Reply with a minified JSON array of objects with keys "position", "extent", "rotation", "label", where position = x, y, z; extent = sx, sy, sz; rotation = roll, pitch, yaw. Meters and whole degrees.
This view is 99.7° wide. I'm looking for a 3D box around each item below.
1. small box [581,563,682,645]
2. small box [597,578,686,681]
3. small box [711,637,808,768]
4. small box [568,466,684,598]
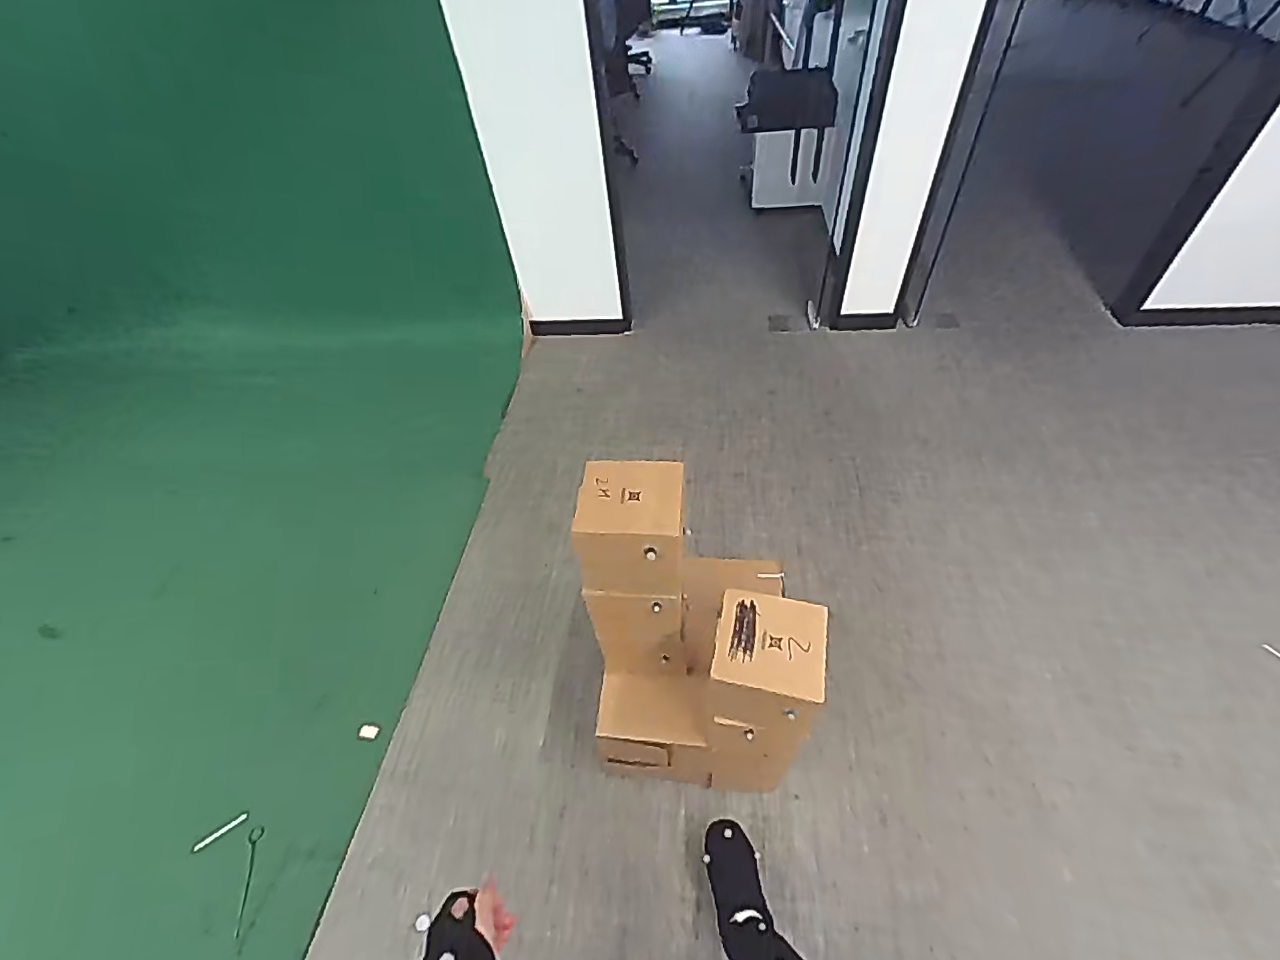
[{"position":[-0.008,0.212,1.069],"extent":[0.179,0.176,0.168],"rotation":[1,45,6],"label":"small box"},{"position":[0.012,0.326,1.183],"extent":[0.179,0.176,0.168],"rotation":[-1,46,7],"label":"small box"},{"position":[0.228,0.433,1.053],"extent":[0.168,0.176,0.179],"rotation":[4,47,10],"label":"small box"},{"position":[-0.013,0.094,0.953],"extent":[0.179,0.176,0.168],"rotation":[1,45,8],"label":"small box"}]
